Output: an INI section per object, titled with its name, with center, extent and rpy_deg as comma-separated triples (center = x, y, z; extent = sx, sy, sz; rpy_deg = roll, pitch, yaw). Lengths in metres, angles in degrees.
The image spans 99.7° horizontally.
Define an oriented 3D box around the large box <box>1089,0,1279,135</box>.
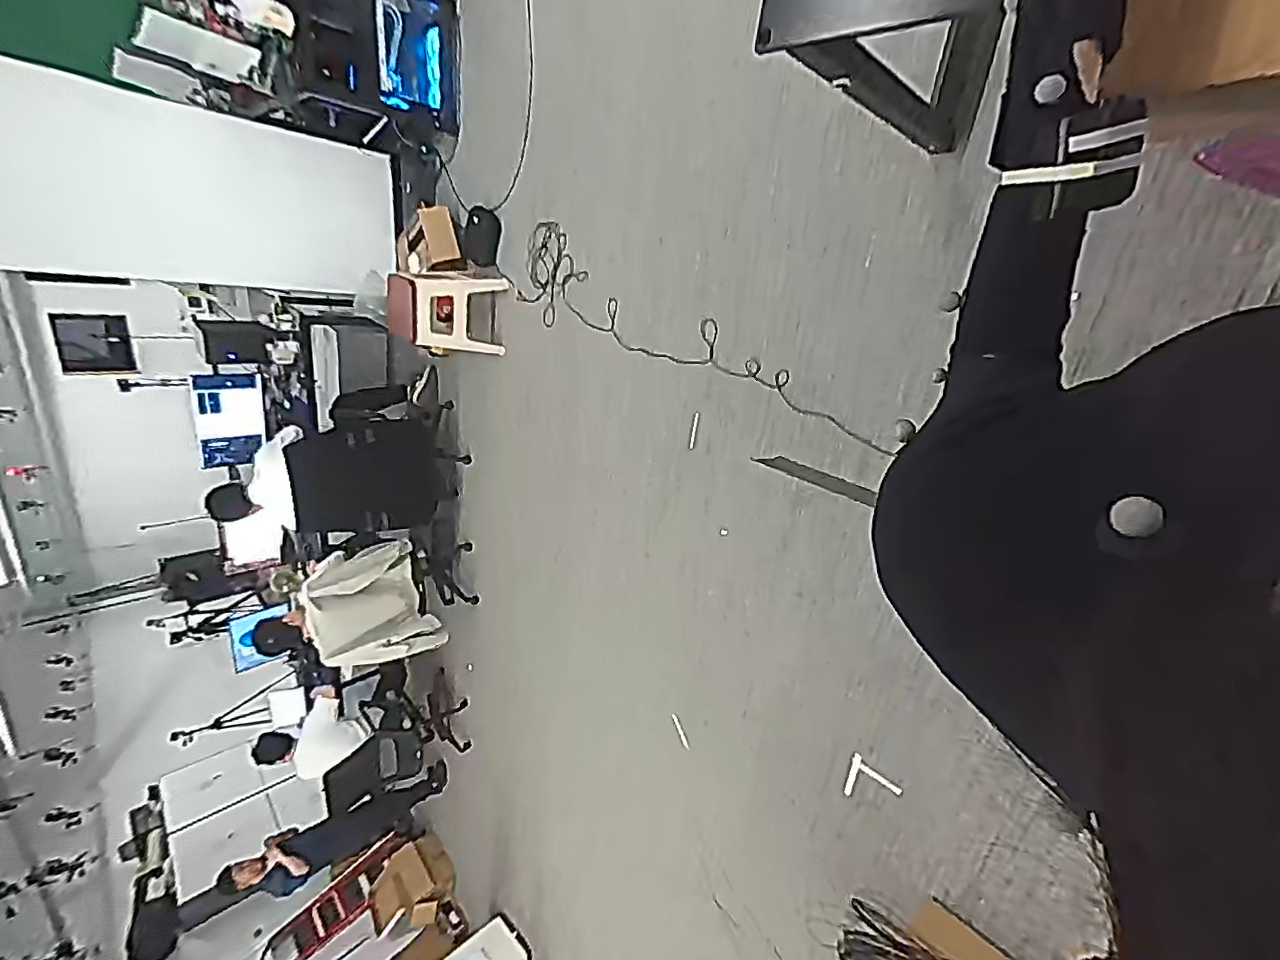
[large box]
center = 0.536, -0.415, 0.280
extent = 0.408, 0.320, 0.320
rpy_deg = 16, 120, 43
